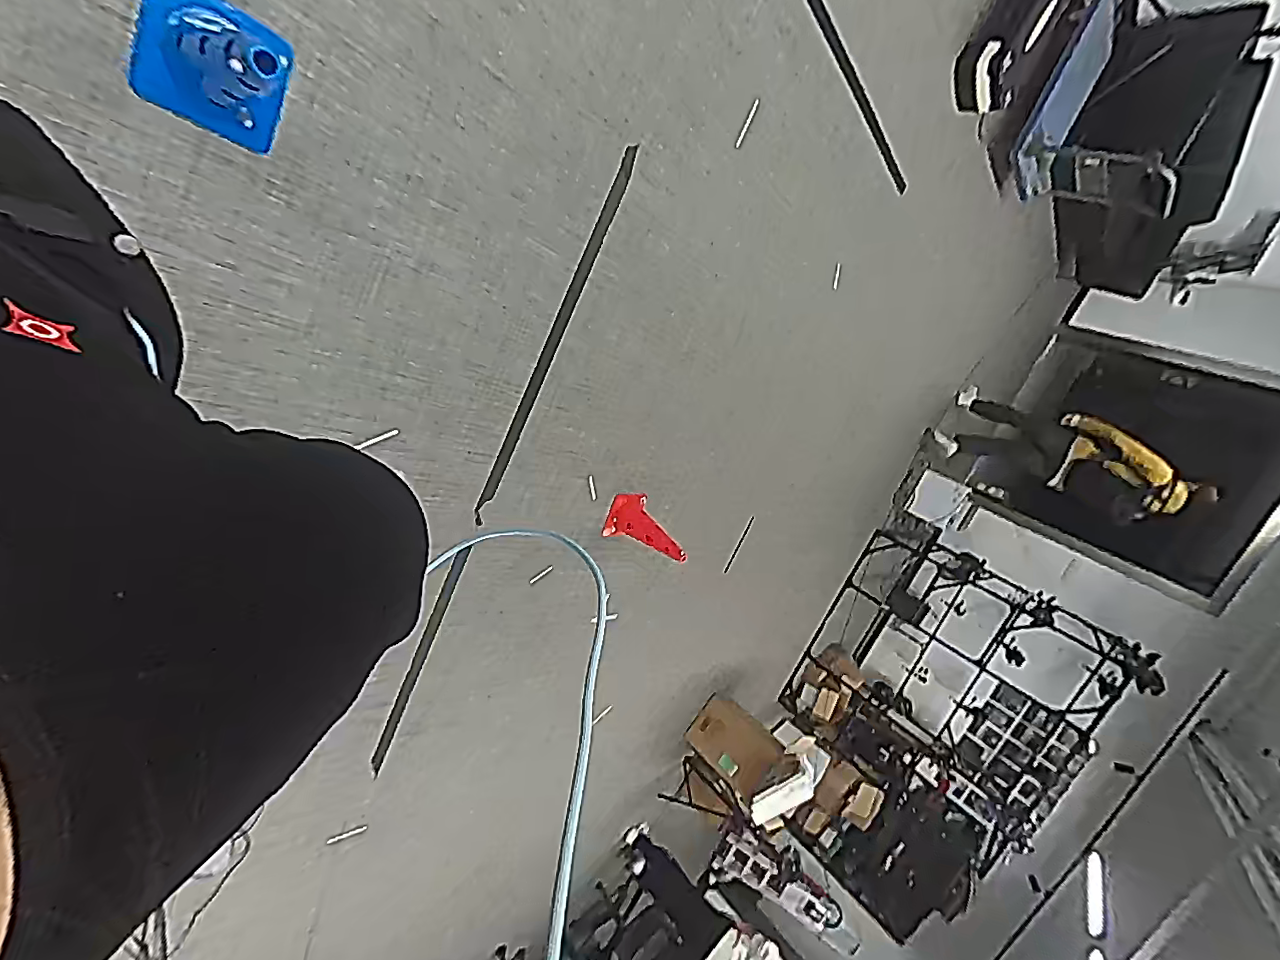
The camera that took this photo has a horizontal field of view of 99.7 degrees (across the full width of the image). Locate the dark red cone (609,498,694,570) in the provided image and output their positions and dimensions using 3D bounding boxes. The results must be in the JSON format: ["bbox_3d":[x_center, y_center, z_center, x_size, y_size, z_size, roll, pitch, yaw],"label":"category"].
[{"bbox_3d":[0.069,0.234,2.171,0.201,0.394,0.202,0,116,-47],"label":"dark red cone"}]

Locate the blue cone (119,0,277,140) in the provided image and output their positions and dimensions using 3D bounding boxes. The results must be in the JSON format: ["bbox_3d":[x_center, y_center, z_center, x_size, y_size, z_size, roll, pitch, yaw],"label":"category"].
[{"bbox_3d":[-0.623,-0.632,0.803,0.192,0.380,0.193,12,107,-50],"label":"blue cone"}]
